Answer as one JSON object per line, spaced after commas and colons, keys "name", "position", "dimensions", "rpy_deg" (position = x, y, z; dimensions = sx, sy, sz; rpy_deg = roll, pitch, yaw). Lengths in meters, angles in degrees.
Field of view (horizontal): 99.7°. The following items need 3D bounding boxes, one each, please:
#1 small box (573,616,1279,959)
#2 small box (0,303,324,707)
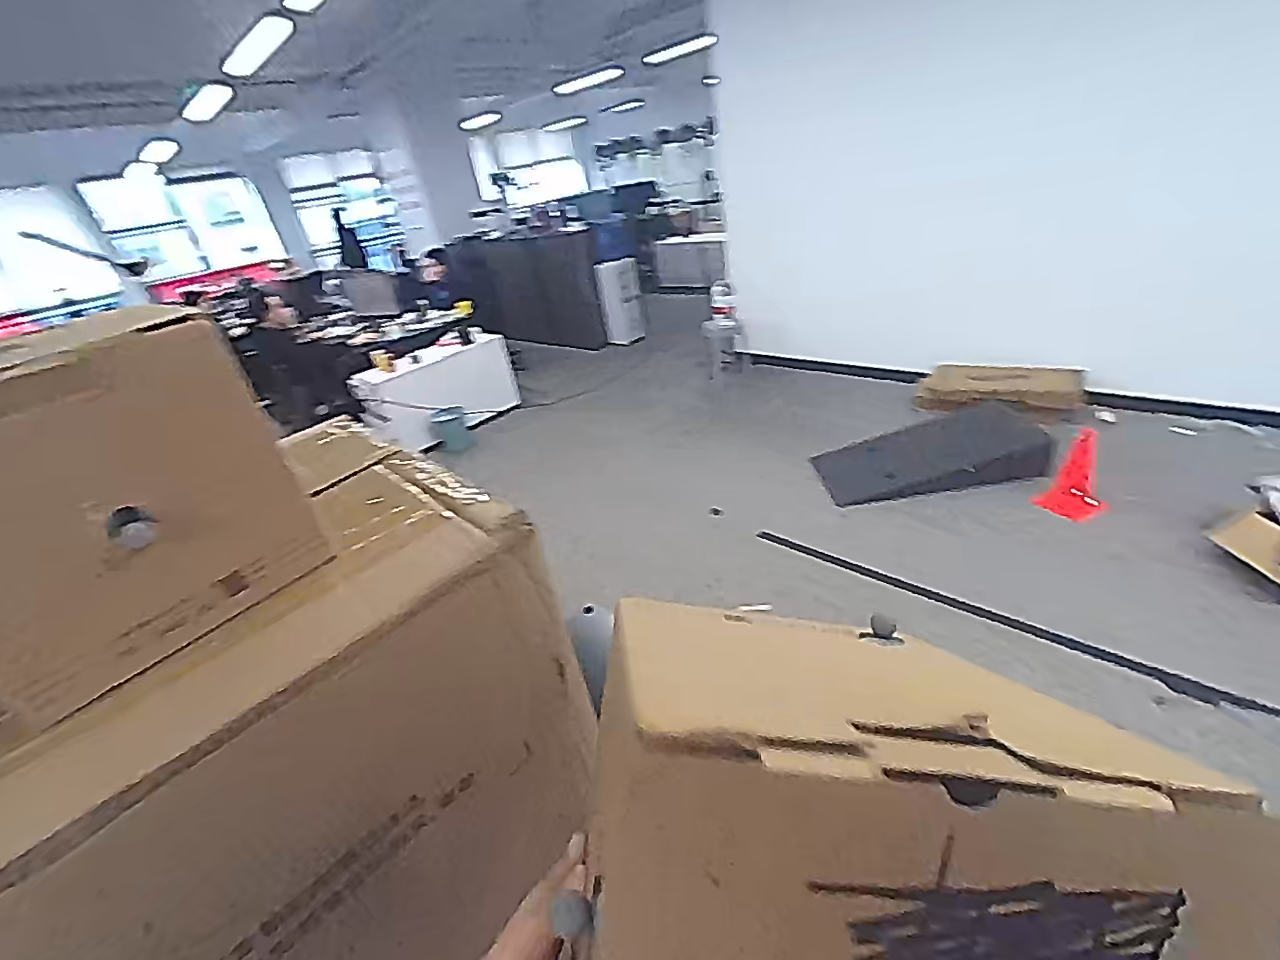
{"name": "small box", "position": [0.065, 0.161, 0.207], "dimensions": [0.168, 0.179, 0.176], "rpy_deg": [9, -2, -3]}
{"name": "small box", "position": [-0.336, 0.003, 0.330], "dimensions": [0.179, 0.176, 0.168], "rpy_deg": [16, 39, 36]}
